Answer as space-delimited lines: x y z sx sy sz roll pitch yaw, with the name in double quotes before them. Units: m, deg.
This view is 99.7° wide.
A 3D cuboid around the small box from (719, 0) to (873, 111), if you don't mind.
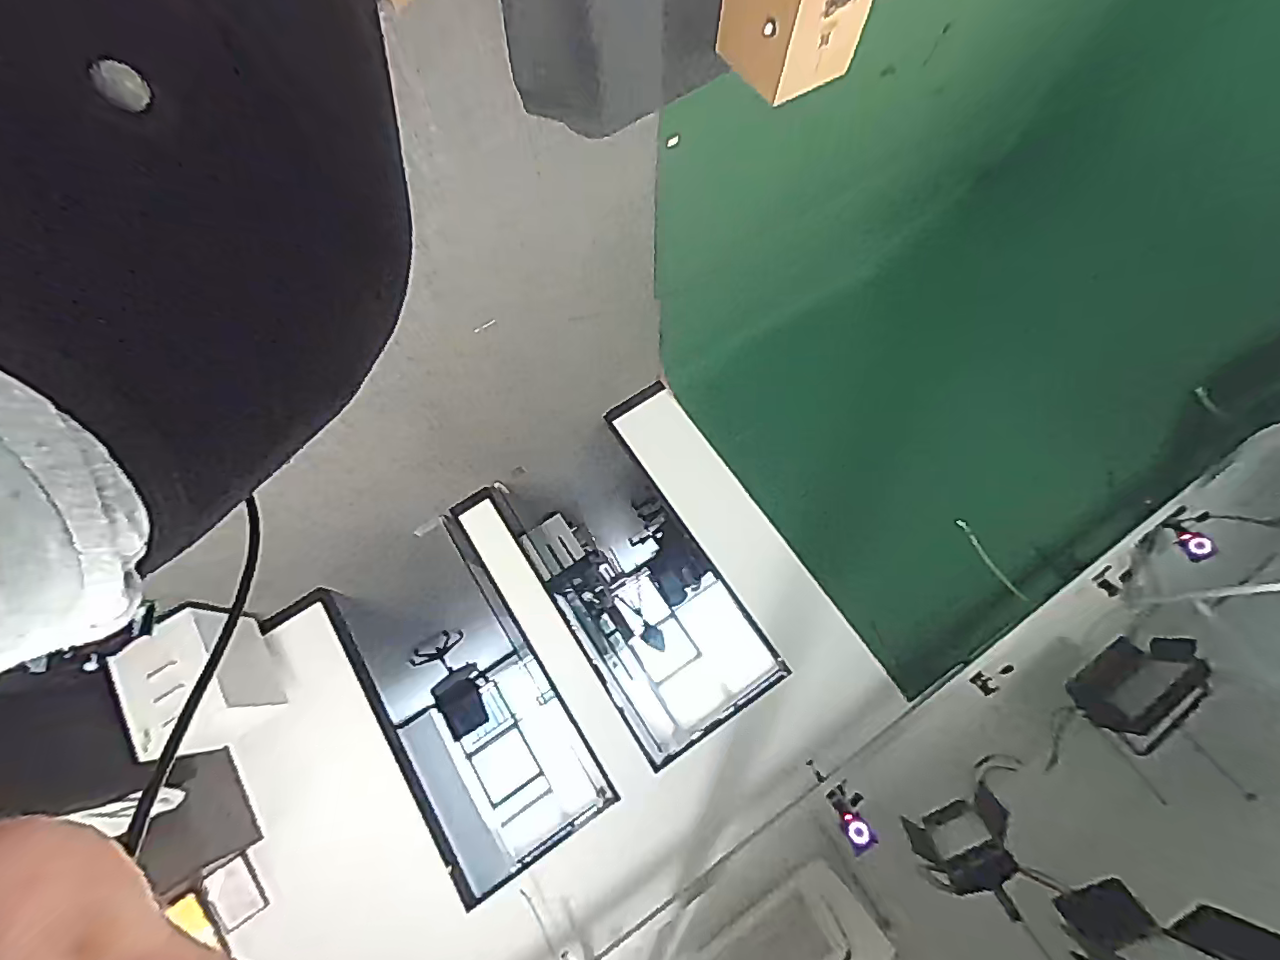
"small box" 0.246 -0.753 0.867 0.168 0.176 0.179 -32 164 -12
